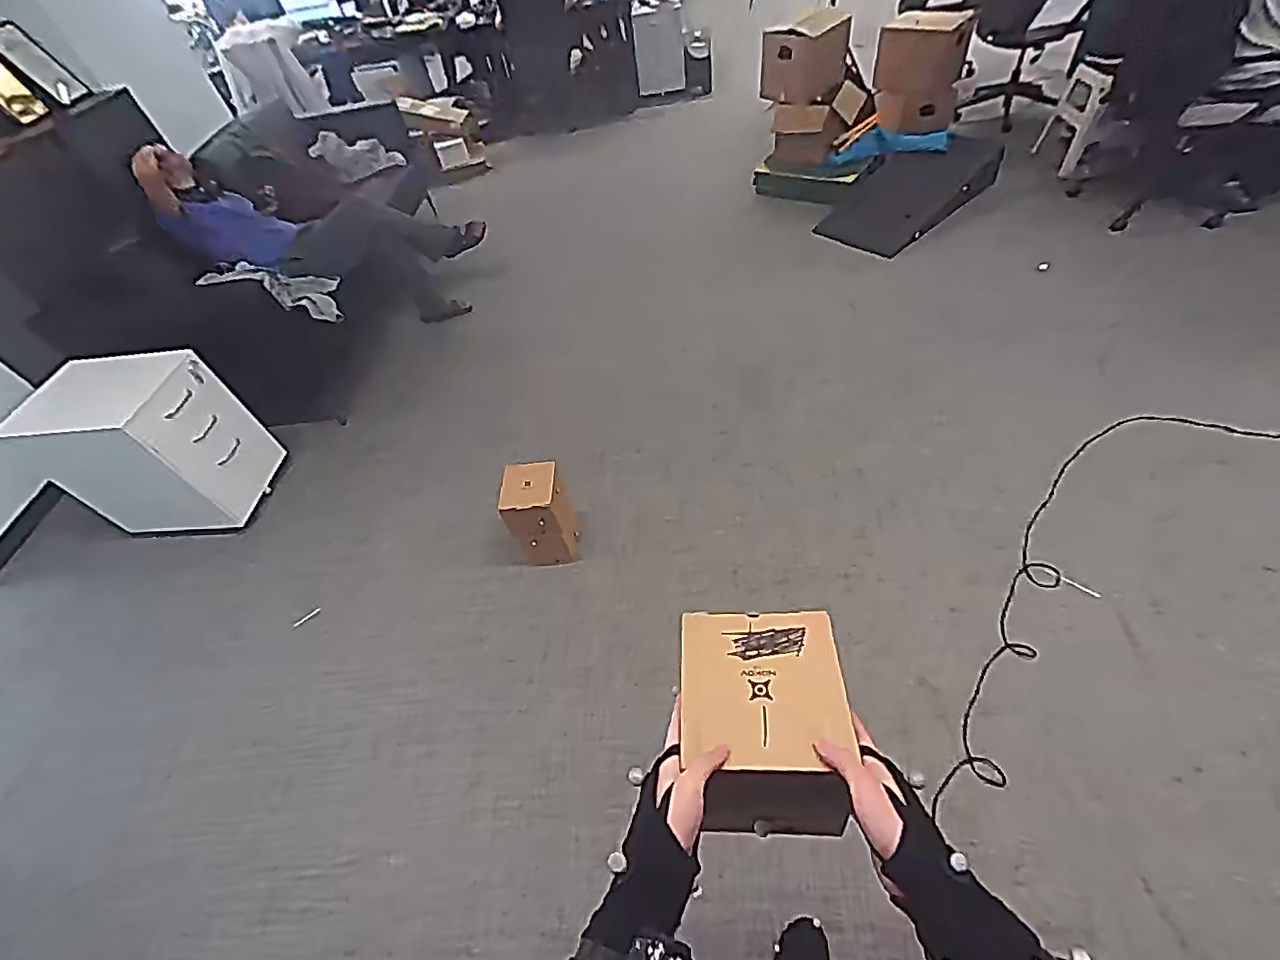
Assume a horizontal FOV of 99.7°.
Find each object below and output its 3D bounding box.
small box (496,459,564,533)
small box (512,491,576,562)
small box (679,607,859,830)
[{"bbox_3d":[-0.344,0.059,1.729,0.168,0.176,0.179,-6,49,5],"label":"small box"},{"bbox_3d":[-0.321,0.161,1.852,0.168,0.176,0.179,-5,50,7],"label":"small box"},{"bbox_3d":[0.132,0.264,0.609,0.168,0.176,0.179,-3,40,7],"label":"small box"}]
